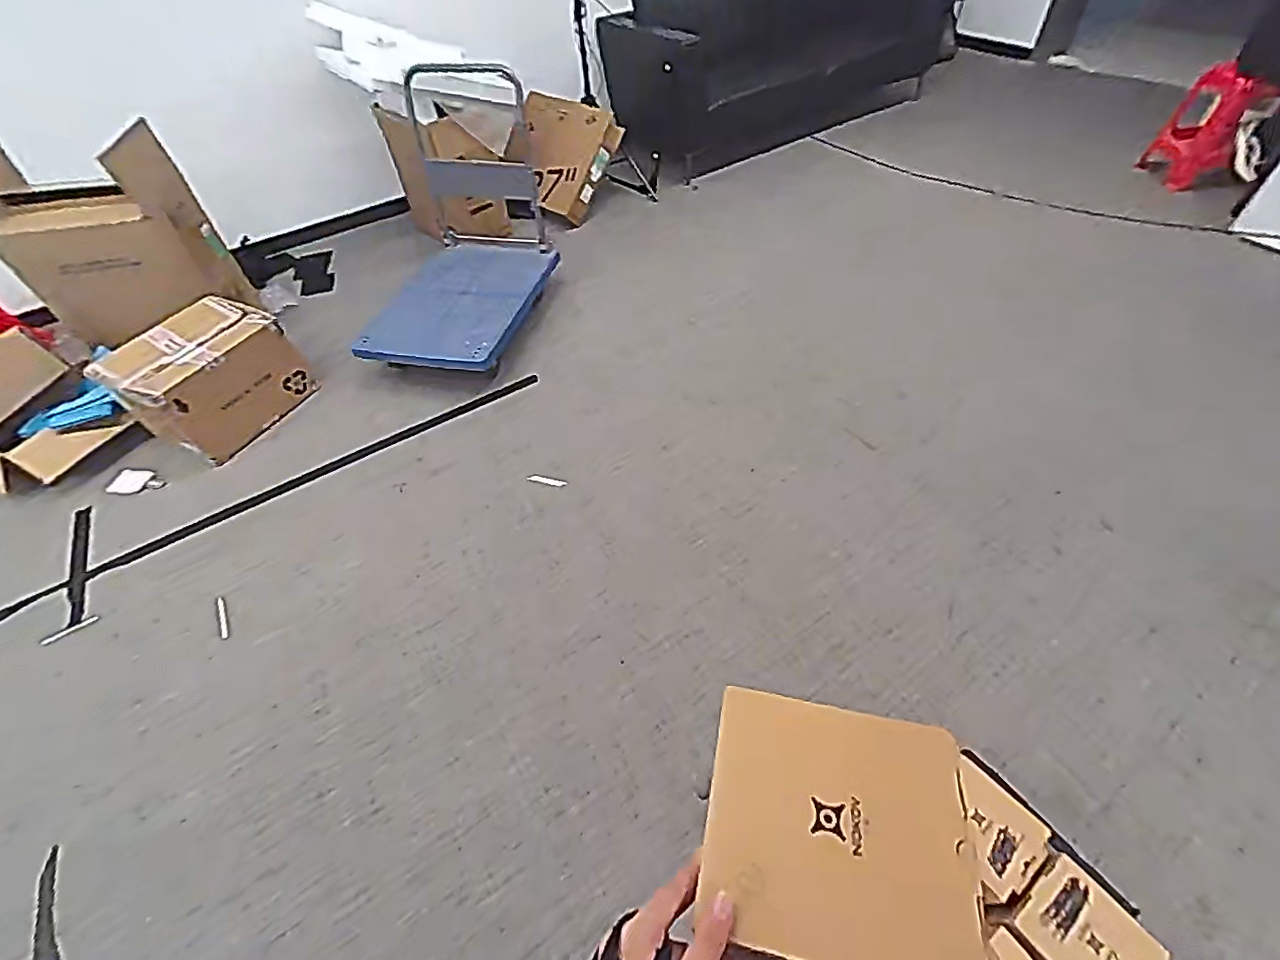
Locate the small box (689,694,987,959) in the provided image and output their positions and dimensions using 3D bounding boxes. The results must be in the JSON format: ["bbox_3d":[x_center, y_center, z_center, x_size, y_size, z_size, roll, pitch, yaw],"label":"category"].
[{"bbox_3d":[0.140,0.299,0.427,0.179,0.176,0.168,7,44,13],"label":"small box"}]
